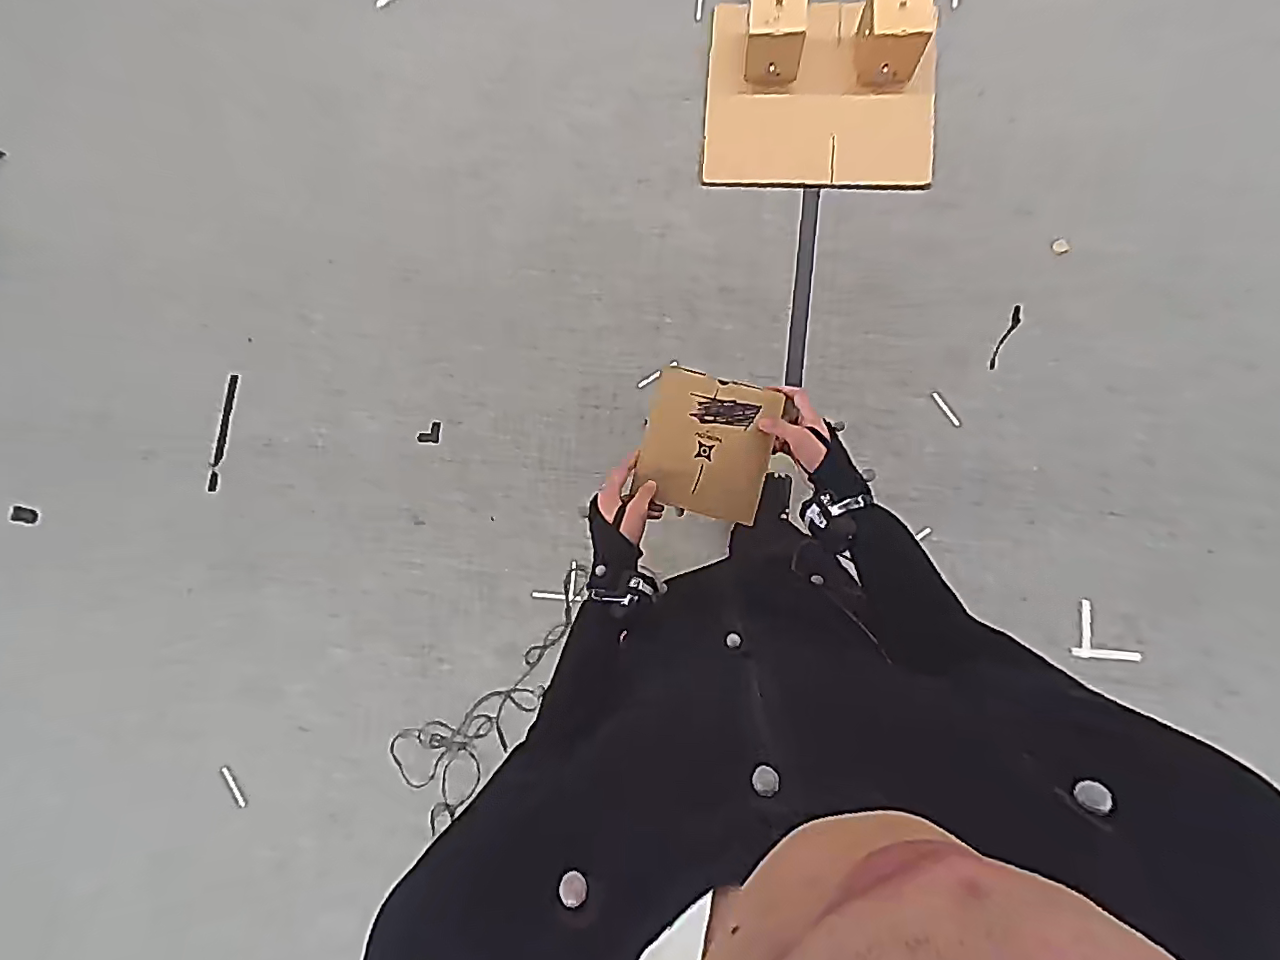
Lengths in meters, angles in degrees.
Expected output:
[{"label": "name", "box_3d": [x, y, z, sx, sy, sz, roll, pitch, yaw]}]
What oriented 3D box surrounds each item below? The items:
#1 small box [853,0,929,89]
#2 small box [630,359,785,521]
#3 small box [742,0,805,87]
[{"label": "small box", "box_3d": [0.745, -1.321, 1.619, 0.168, 0.176, 0.179, 0, 85, 6]}, {"label": "small box", "box_3d": [0.086, -0.051, 0.765, 0.168, 0.176, 0.179, 14, 91, 1]}, {"label": "small box", "box_3d": [0.403, -1.348, 1.648, 0.168, 0.176, 0.179, 4, 85, 7]}]
